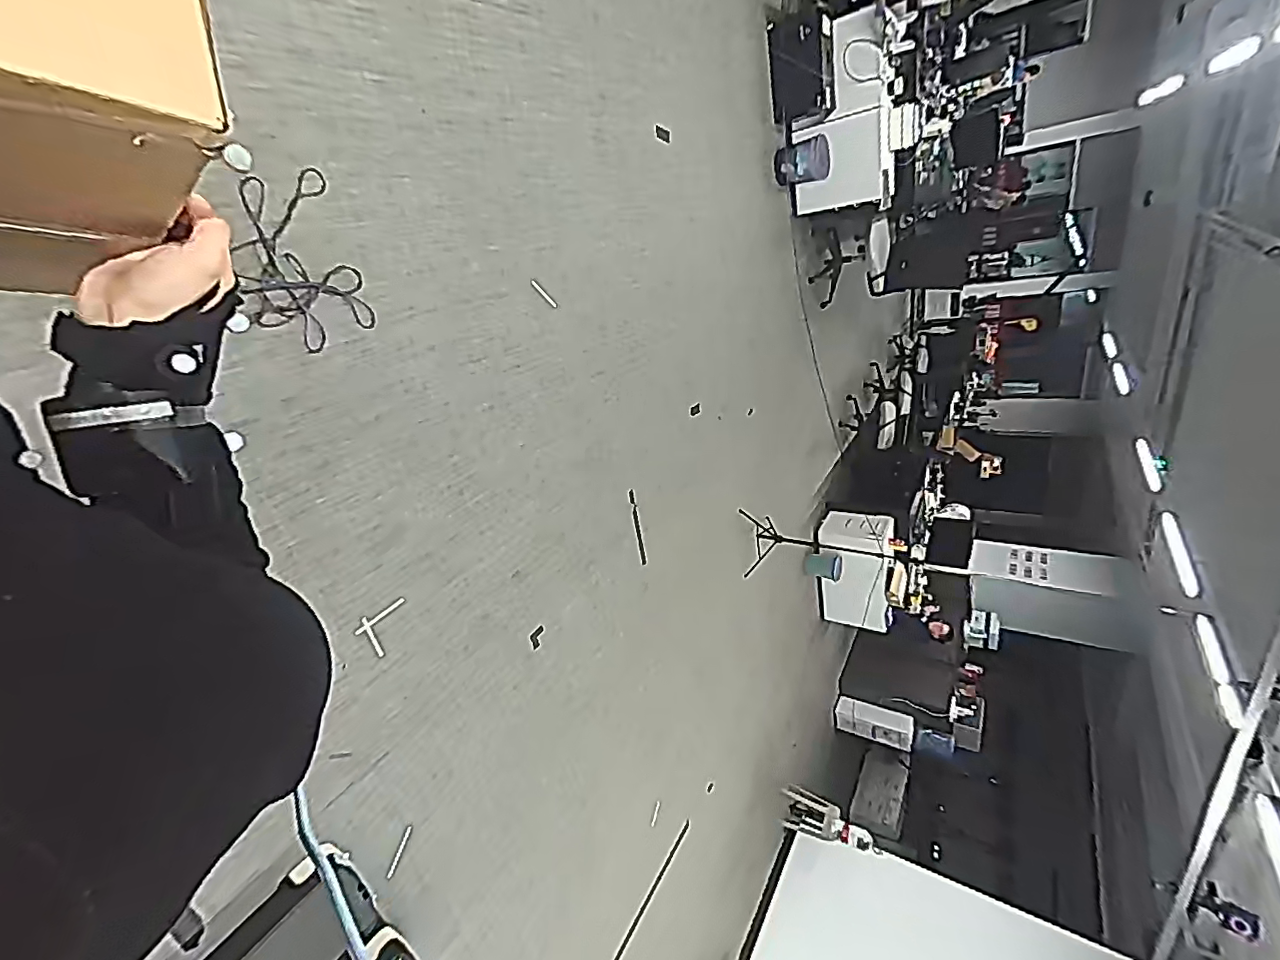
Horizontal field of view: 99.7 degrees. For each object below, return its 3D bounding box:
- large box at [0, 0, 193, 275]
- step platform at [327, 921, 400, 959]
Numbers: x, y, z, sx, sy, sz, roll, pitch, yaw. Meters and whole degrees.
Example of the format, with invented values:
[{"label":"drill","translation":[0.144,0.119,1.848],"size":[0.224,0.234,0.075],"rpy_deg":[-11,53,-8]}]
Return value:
[{"label":"large box","translation":[-0.463,-0.280,0.173],"size":[0.408,0.320,0.320],"rpy_deg":[-17,103,-49]},{"label":"step platform","translation":[-0.896,1.506,1.311],"size":[0.684,0.204,0.286],"rpy_deg":[-30,119,-48]}]
